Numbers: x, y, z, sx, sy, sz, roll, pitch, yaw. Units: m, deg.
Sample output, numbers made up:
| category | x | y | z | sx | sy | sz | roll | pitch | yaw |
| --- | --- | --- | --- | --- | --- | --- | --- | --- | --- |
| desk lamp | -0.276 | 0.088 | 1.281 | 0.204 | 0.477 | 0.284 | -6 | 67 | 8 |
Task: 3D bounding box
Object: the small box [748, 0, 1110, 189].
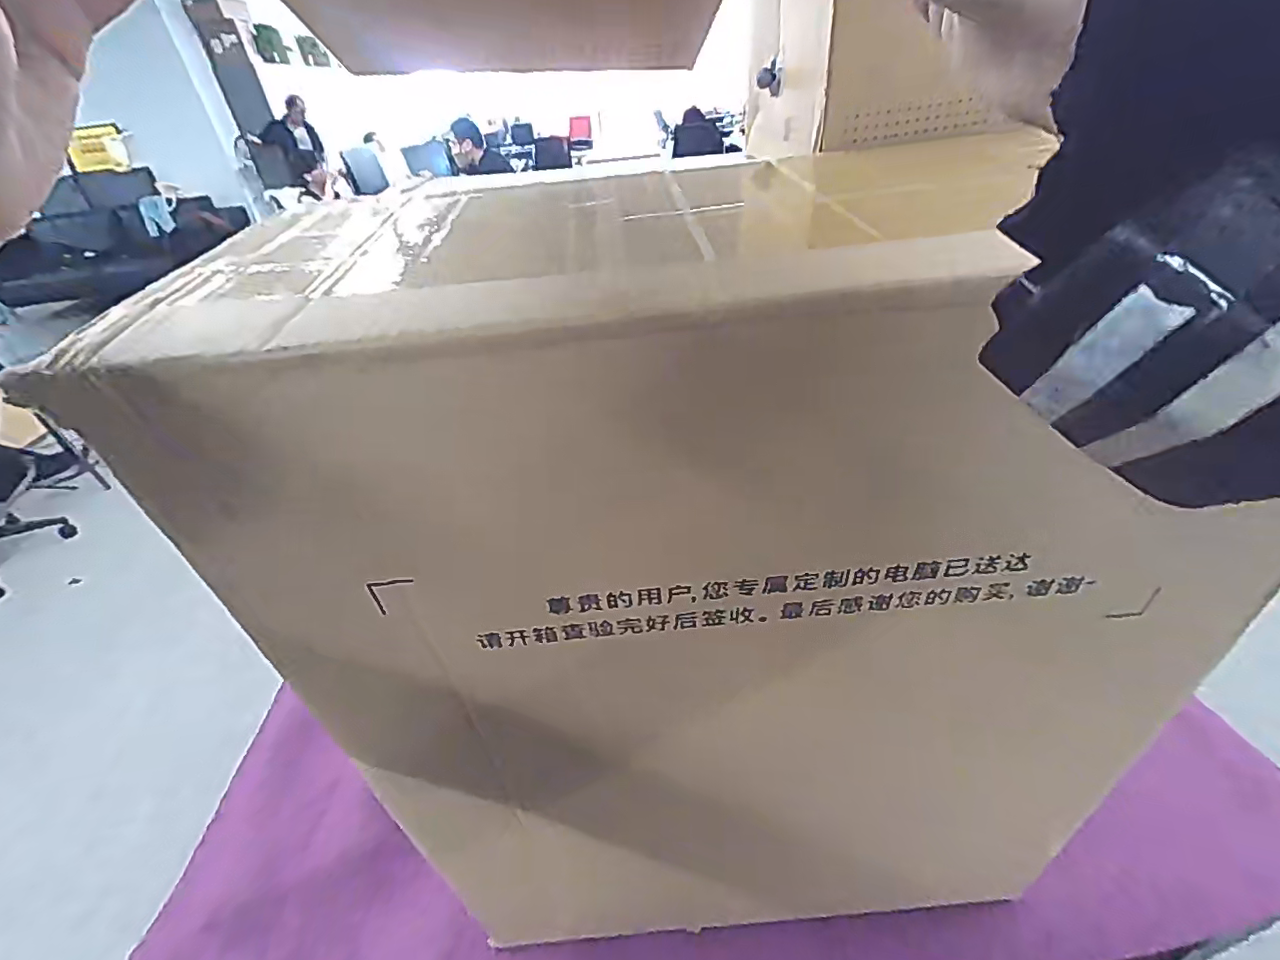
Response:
| category | x | y | z | sx | sy | sz | roll | pitch | yaw |
| --- | --- | --- | --- | --- | --- | --- | --- | --- | --- |
| small box | 0.179 | -0.311 | 0.366 | 0.179 | 0.176 | 0.168 | -10 | 36 | -3 |
